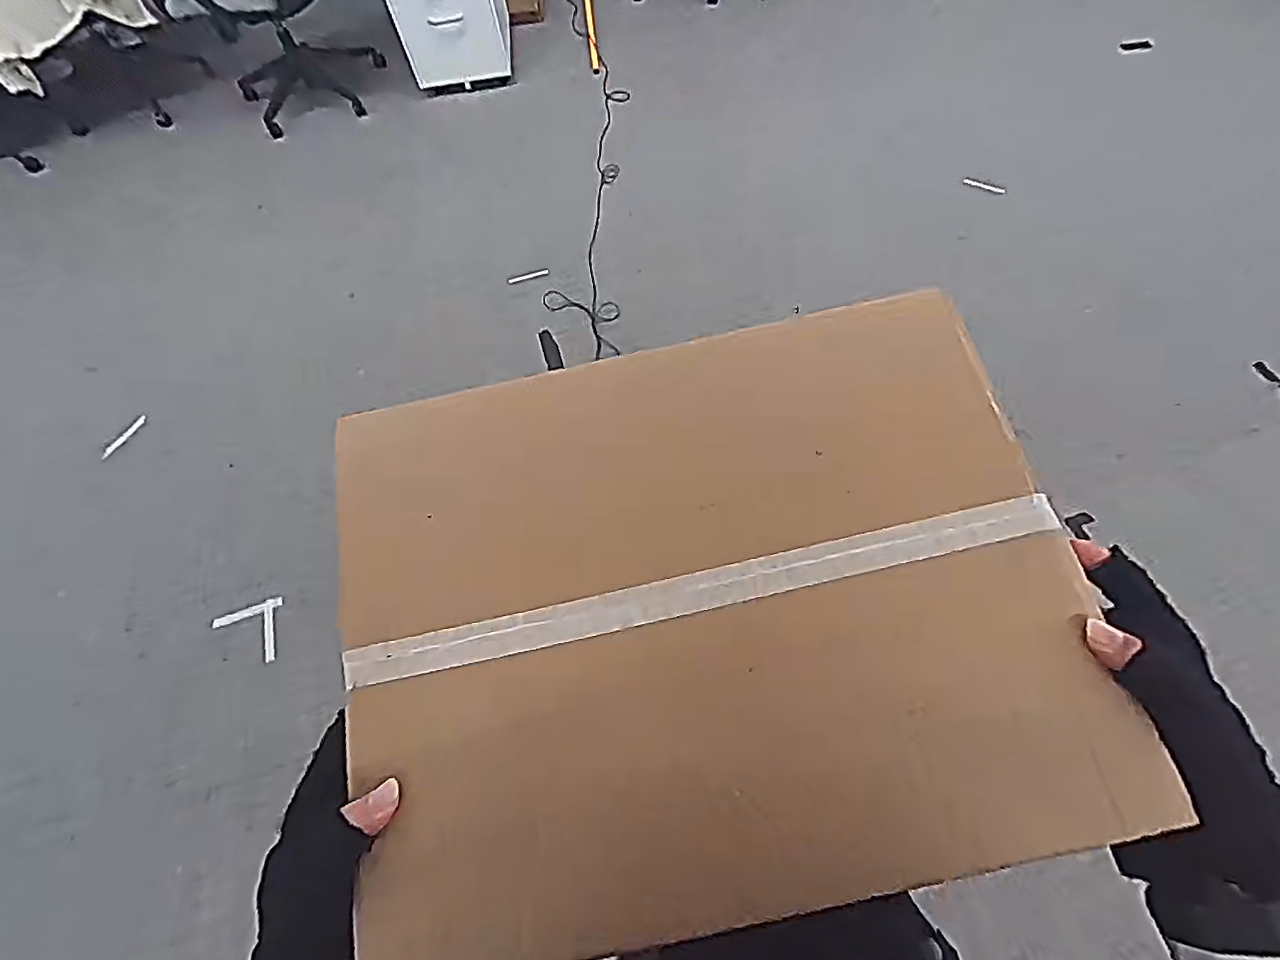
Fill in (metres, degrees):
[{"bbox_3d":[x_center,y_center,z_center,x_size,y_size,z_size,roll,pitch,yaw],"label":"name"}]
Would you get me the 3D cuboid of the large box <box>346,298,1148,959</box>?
[{"bbox_3d":[0.043,0.108,0.454,0.408,0.320,0.320,-13,71,0],"label":"large box"}]
